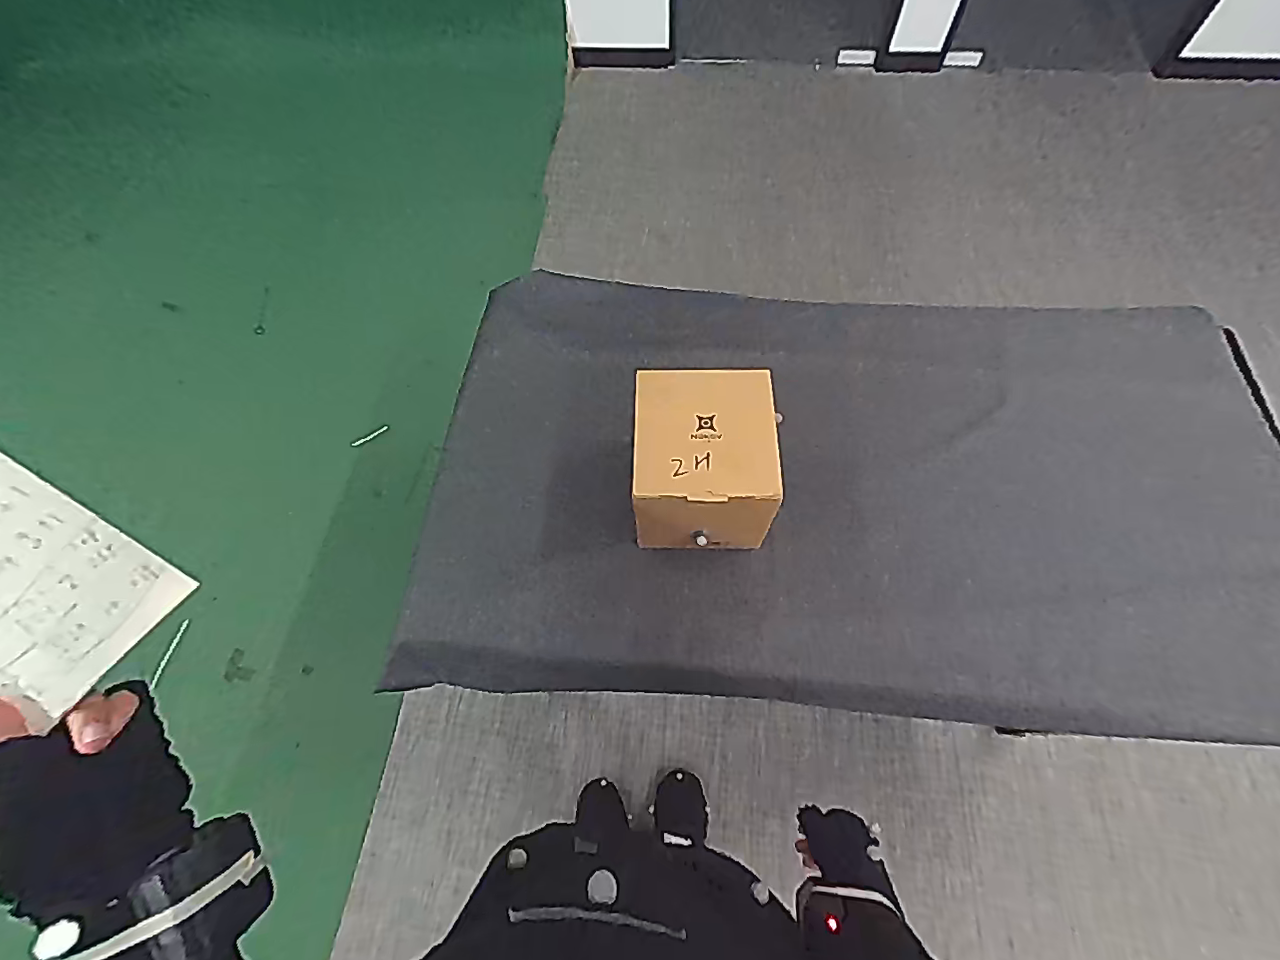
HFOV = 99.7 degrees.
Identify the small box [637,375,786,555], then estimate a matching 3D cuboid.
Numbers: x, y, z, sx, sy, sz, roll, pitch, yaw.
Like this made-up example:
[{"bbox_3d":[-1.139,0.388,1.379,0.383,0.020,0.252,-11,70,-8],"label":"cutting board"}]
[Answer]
[{"bbox_3d":[0.083,-0.015,0.700,0.168,0.176,0.179,0,63,3],"label":"small box"}]
